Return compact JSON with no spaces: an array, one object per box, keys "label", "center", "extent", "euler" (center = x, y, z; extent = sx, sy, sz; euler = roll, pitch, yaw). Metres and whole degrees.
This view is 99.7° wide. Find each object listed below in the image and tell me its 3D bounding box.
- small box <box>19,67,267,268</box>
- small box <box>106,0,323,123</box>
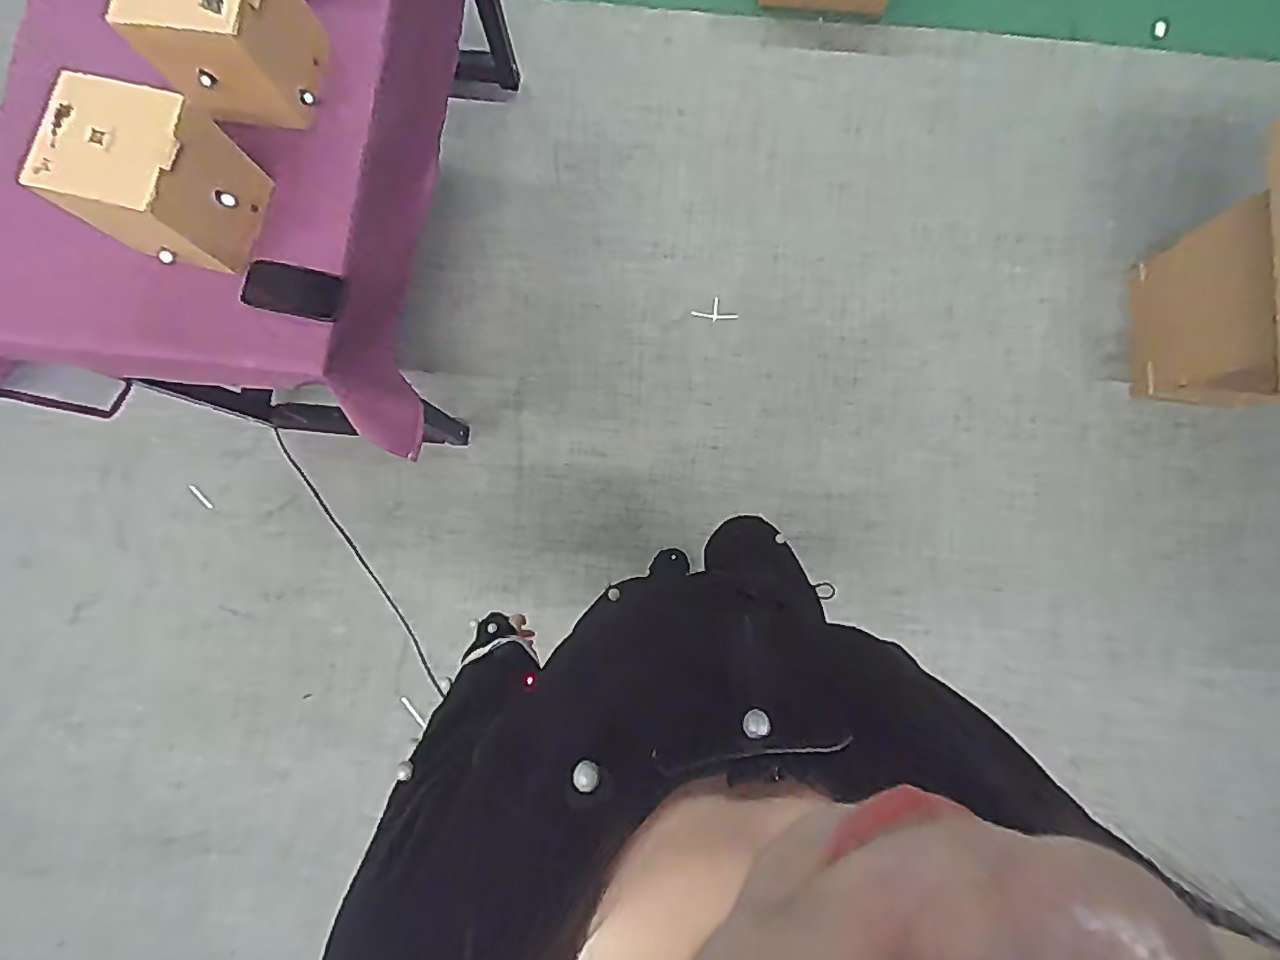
[{"label":"small box","center":[-0.685,-0.429,0.771],"extent":[0.179,0.176,0.168],"euler":[14,84,2]},{"label":"small box","center":[-0.606,-0.664,0.797],"extent":[0.179,0.176,0.168],"euler":[6,83,2]}]
